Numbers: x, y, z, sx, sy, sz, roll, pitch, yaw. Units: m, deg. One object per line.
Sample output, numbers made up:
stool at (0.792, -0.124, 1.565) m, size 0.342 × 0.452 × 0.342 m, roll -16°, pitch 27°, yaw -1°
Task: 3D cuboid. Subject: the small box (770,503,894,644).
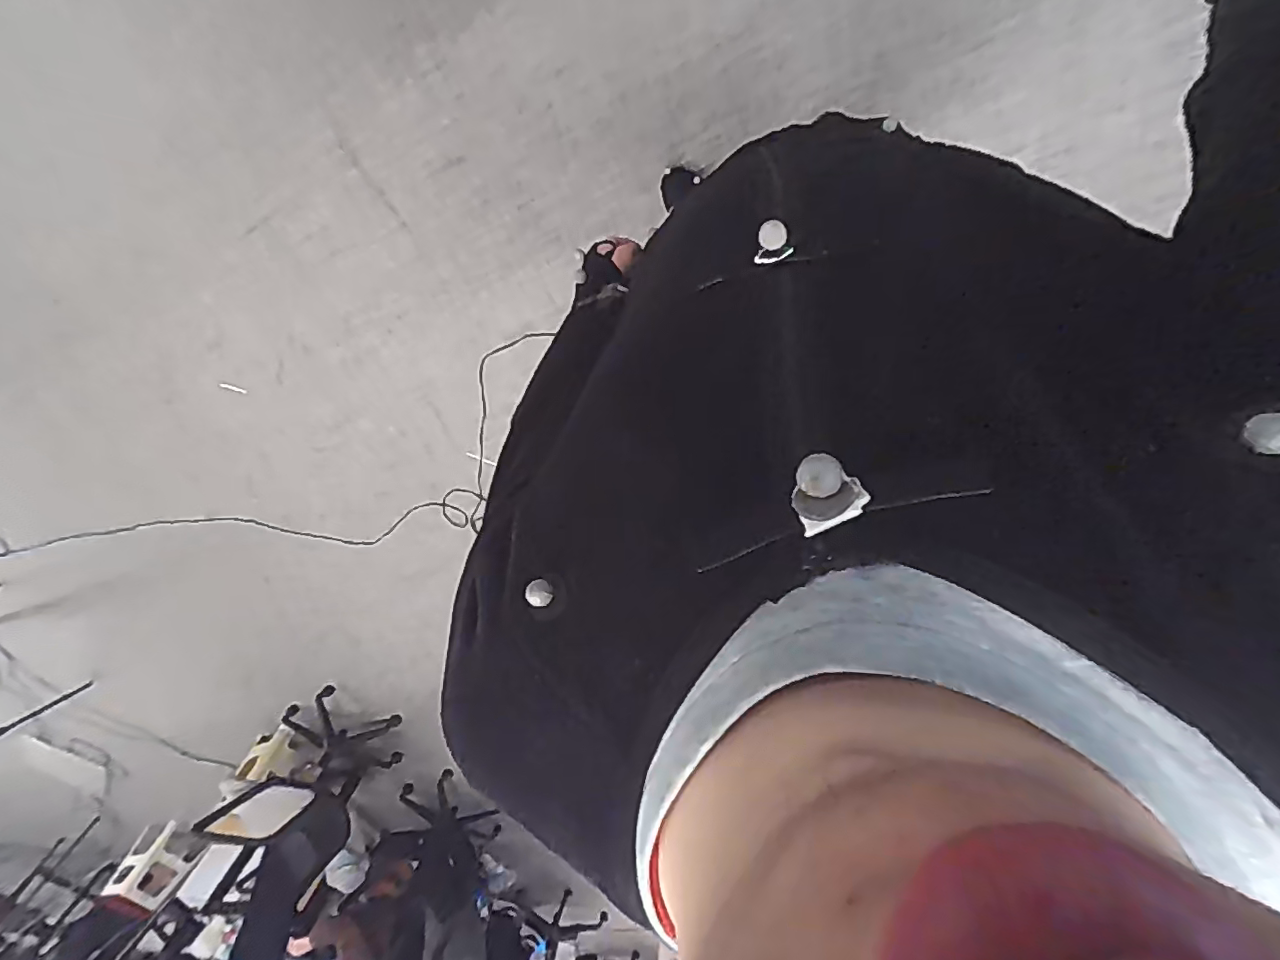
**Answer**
small box at (0.354, 0.174, 1.014) m, size 0.168 × 0.176 × 0.179 m, roll -20°, pitch 118°, yaw 21°
